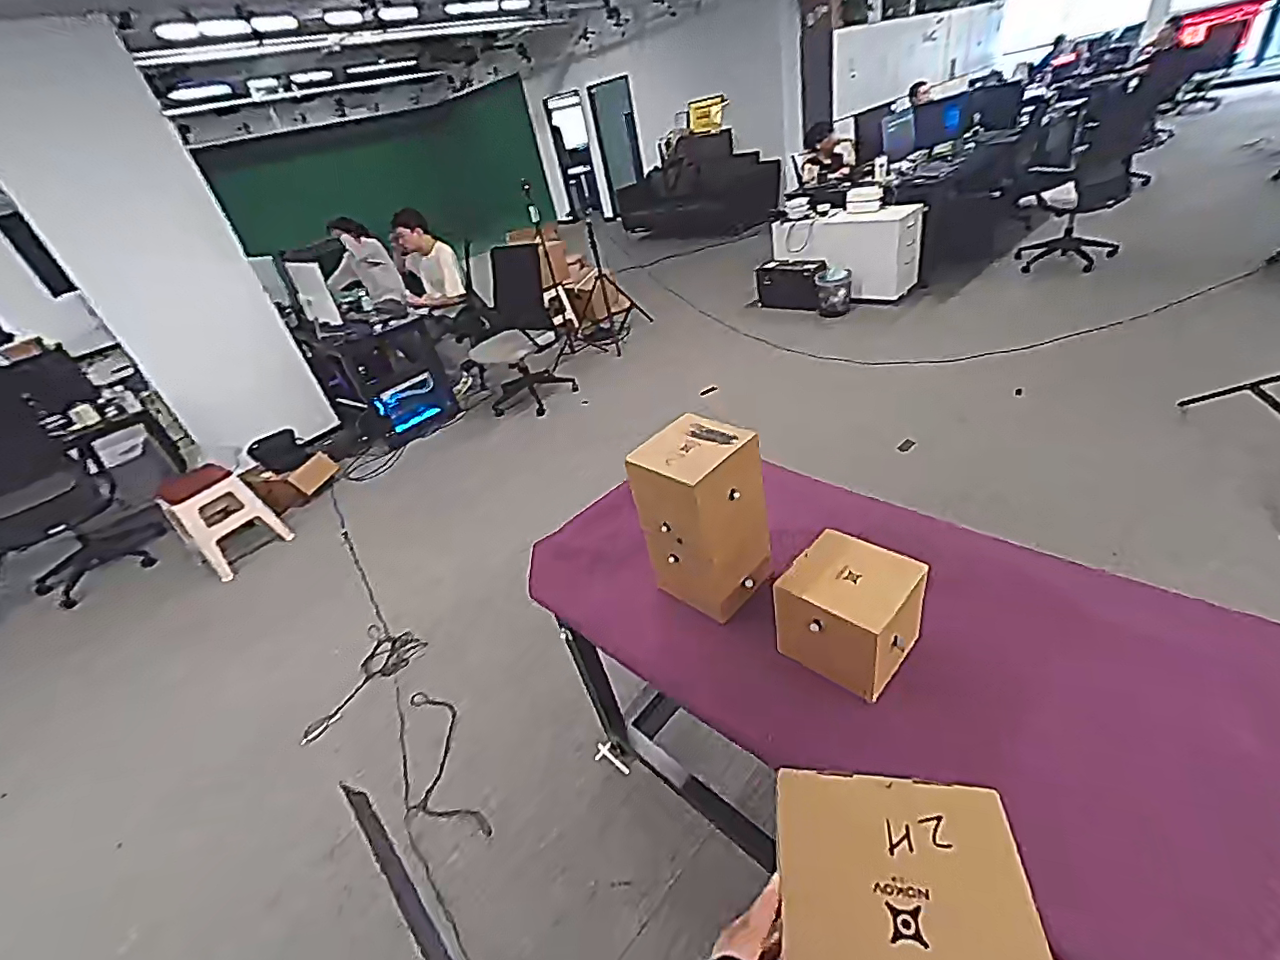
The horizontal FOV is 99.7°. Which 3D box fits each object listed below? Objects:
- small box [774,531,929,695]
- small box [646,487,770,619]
[{"bbox_3d":[0.345,0.219,0.888,0.168,0.176,0.179,-36,39,-30],"label":"small box"},{"bbox_3d":[0.139,0.143,1.071,0.179,0.176,0.168,22,48,41],"label":"small box"}]
